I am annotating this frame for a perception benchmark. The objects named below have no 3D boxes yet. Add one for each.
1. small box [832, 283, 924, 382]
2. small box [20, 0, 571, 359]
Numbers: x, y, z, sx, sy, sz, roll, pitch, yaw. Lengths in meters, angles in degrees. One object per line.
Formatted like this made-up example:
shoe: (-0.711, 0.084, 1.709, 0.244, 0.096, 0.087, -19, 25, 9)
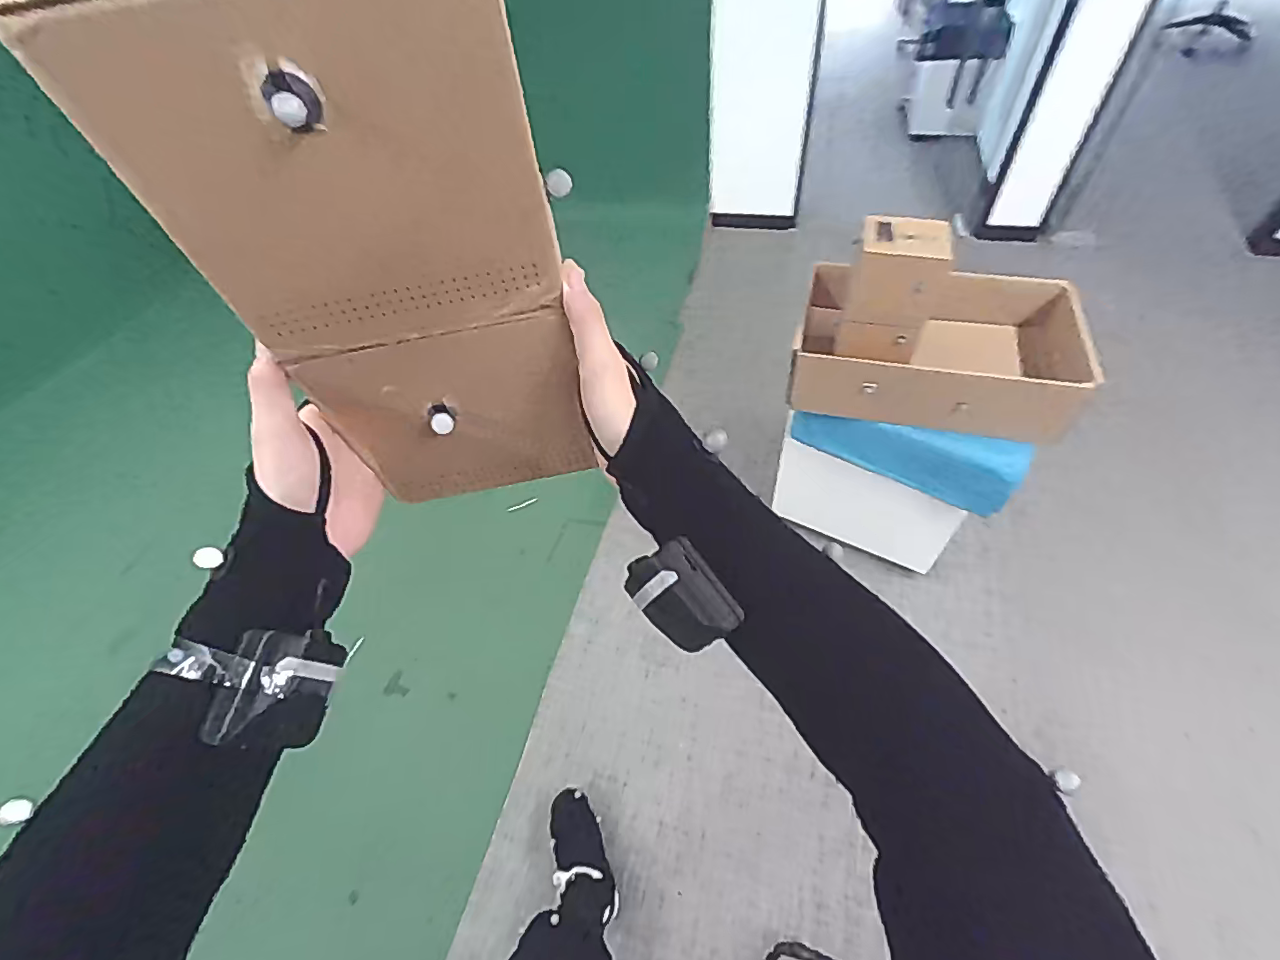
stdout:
small box: (0.580, -0.361, 1.333, 0.179, 0.176, 0.168, 10, 53, 13)
small box: (-0.148, -0.191, 0.308, 0.179, 0.176, 0.168, -12, 57, -2)
